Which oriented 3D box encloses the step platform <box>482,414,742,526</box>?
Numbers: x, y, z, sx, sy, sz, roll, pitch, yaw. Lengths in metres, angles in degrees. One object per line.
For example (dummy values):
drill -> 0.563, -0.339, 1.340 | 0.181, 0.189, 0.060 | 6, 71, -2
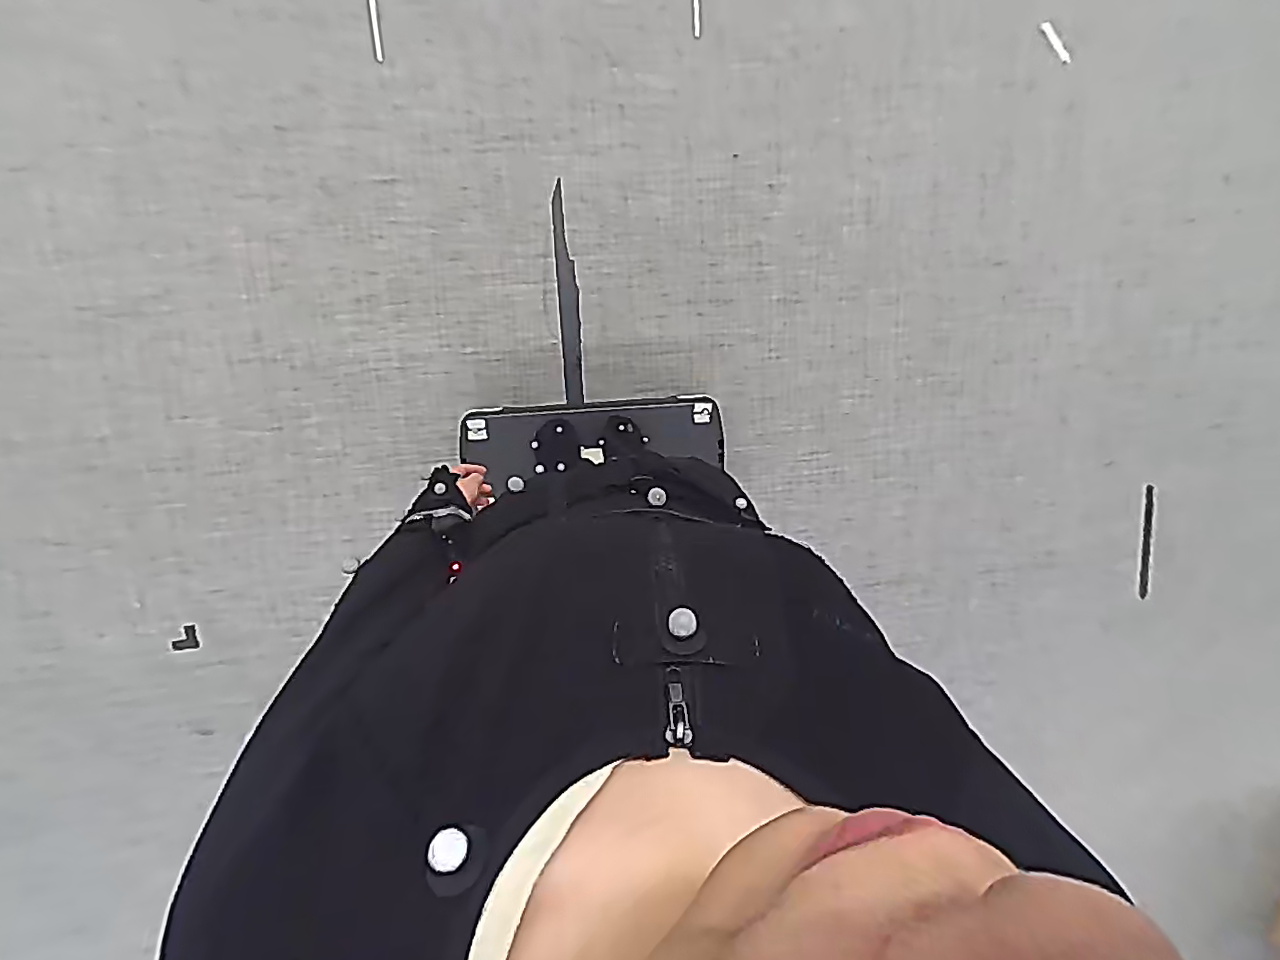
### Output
step platform -> -0.071, -0.032, 1.456 | 0.684, 0.204, 0.286 | 0, 98, -7
